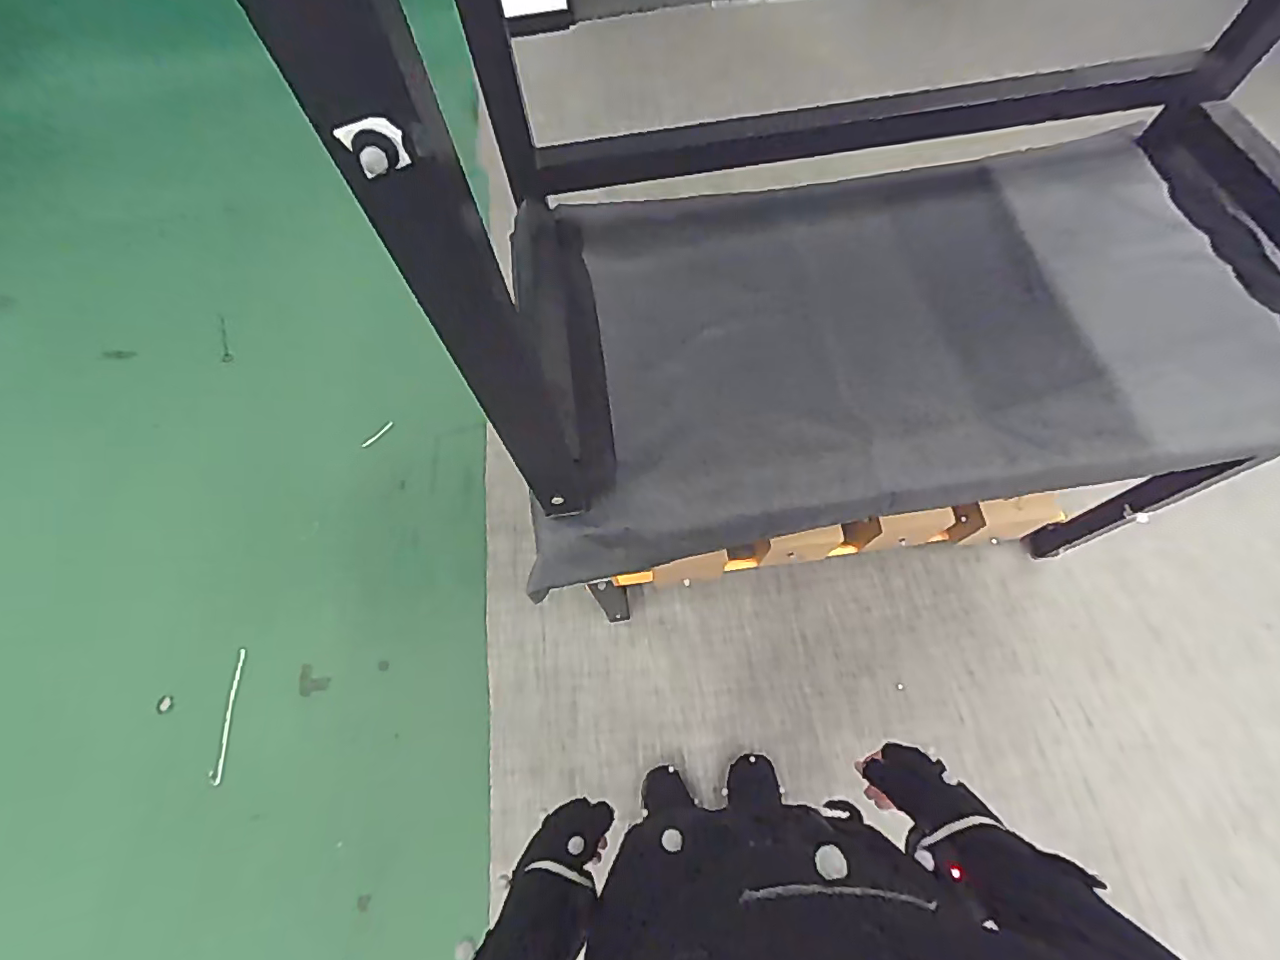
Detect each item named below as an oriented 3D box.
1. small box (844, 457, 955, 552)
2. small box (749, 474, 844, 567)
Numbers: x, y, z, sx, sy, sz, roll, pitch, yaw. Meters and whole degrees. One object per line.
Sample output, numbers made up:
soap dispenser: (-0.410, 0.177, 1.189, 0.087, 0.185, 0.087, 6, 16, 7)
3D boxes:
small box: (0.608, 0.066, 1.290, 0.168, 0.176, 0.179, -8, 66, 0)
small box: (0.365, 0.104, 1.289, 0.168, 0.176, 0.179, -7, 66, 0)
